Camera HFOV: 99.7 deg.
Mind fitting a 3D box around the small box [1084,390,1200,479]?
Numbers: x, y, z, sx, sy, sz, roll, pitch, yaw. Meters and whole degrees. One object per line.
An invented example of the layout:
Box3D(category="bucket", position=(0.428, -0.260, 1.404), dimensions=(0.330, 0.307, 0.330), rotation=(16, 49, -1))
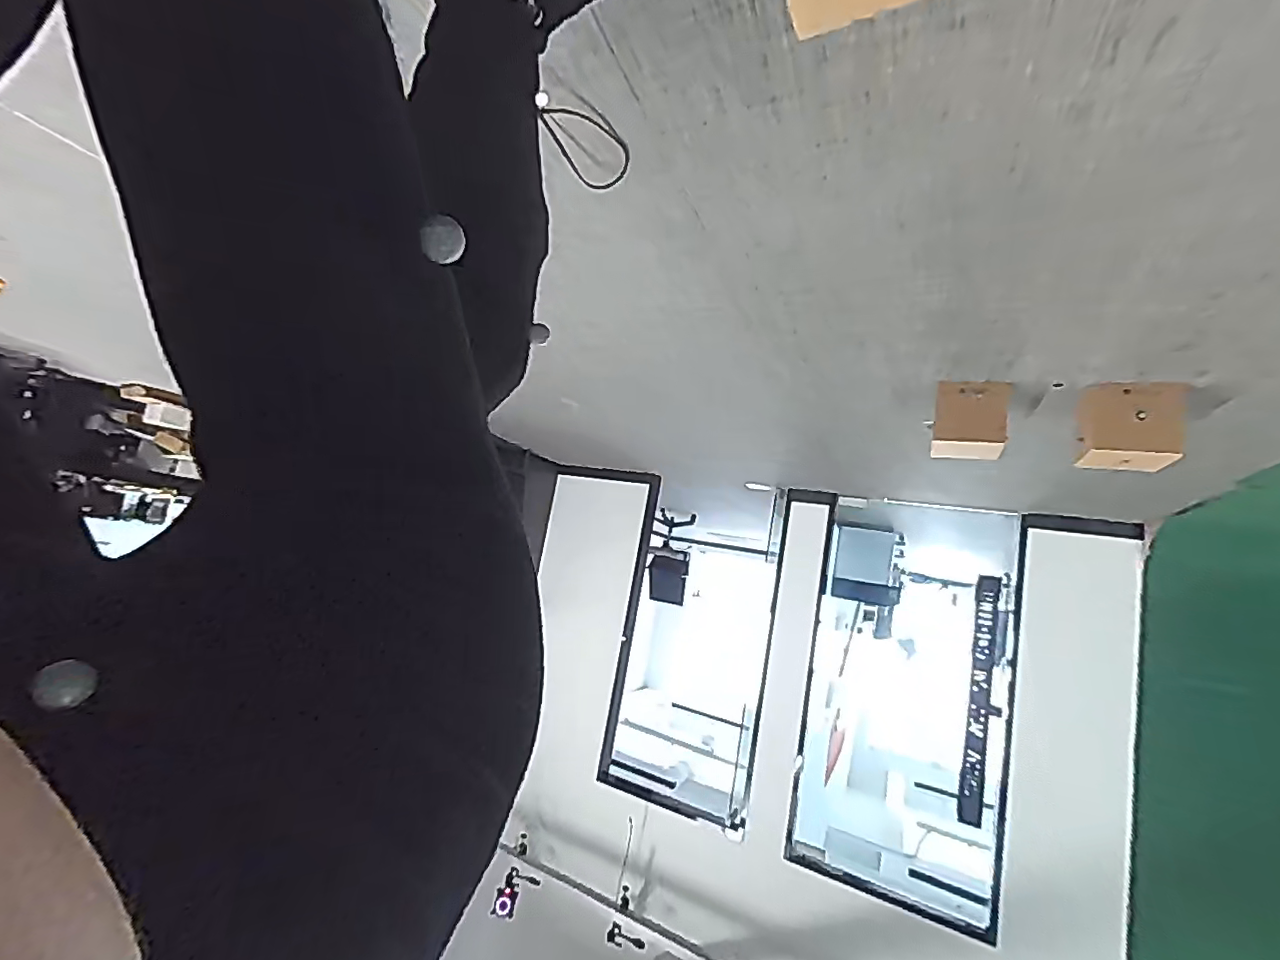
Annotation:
Box3D(category="small box", position=(1.185, -0.109, 1.286), dimensions=(0.168, 0.176, 0.179), rotation=(6, 170, 29))

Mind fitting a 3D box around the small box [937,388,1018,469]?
Box3D(category="small box", position=(0.899, -0.136, 1.446), dimensions=(0.168, 0.176, 0.179), rotation=(5, 169, 28))
